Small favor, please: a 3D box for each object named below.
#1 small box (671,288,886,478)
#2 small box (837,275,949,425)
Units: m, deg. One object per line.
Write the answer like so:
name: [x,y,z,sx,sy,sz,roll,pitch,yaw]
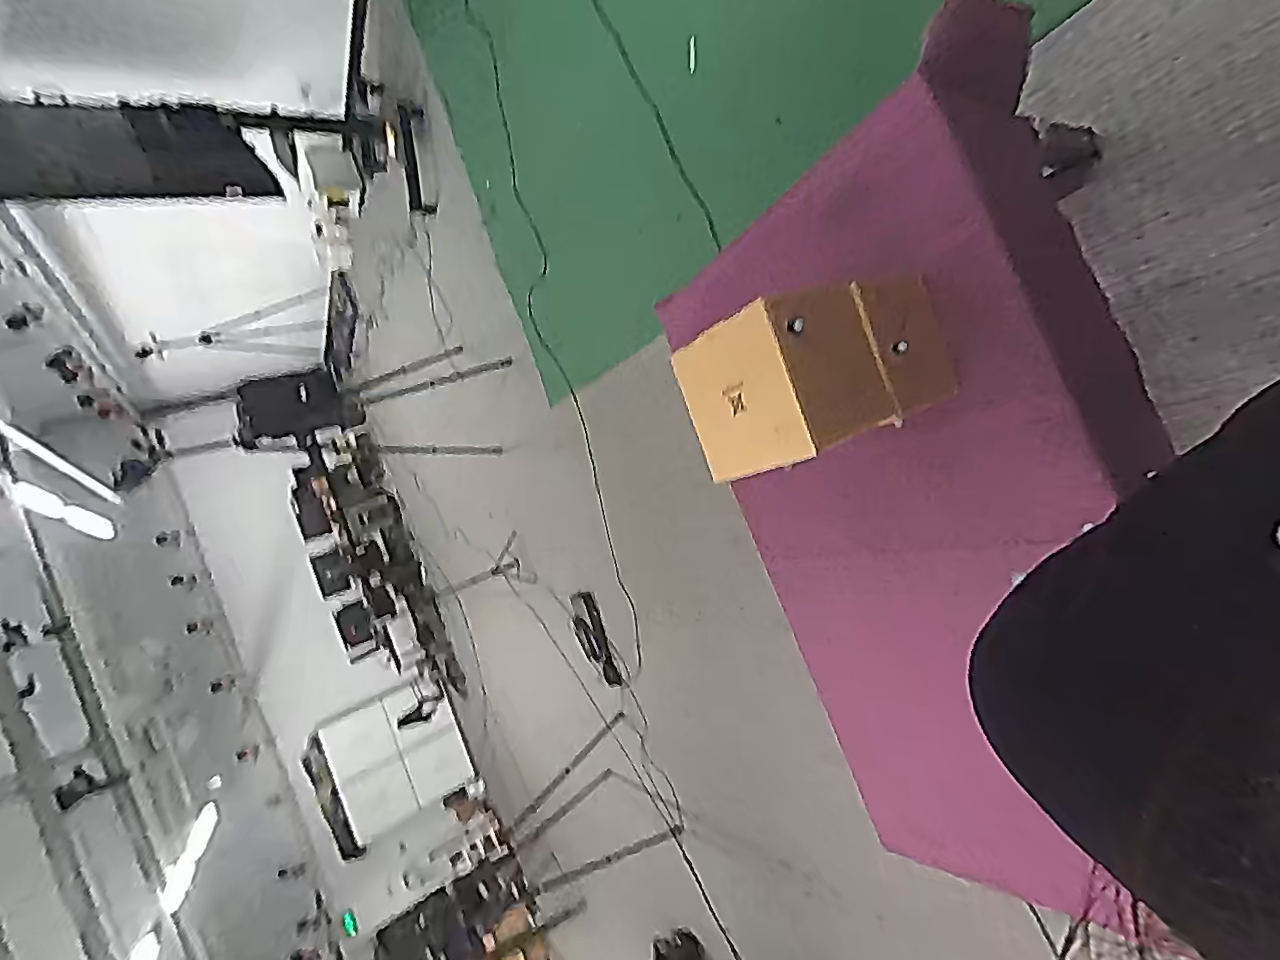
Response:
small box: [0.174,-0.120,0.678,0.168,0.176,0.179,-19,91,55]
small box: [0.303,-0.170,0.765,0.168,0.176,0.179,-15,95,55]
